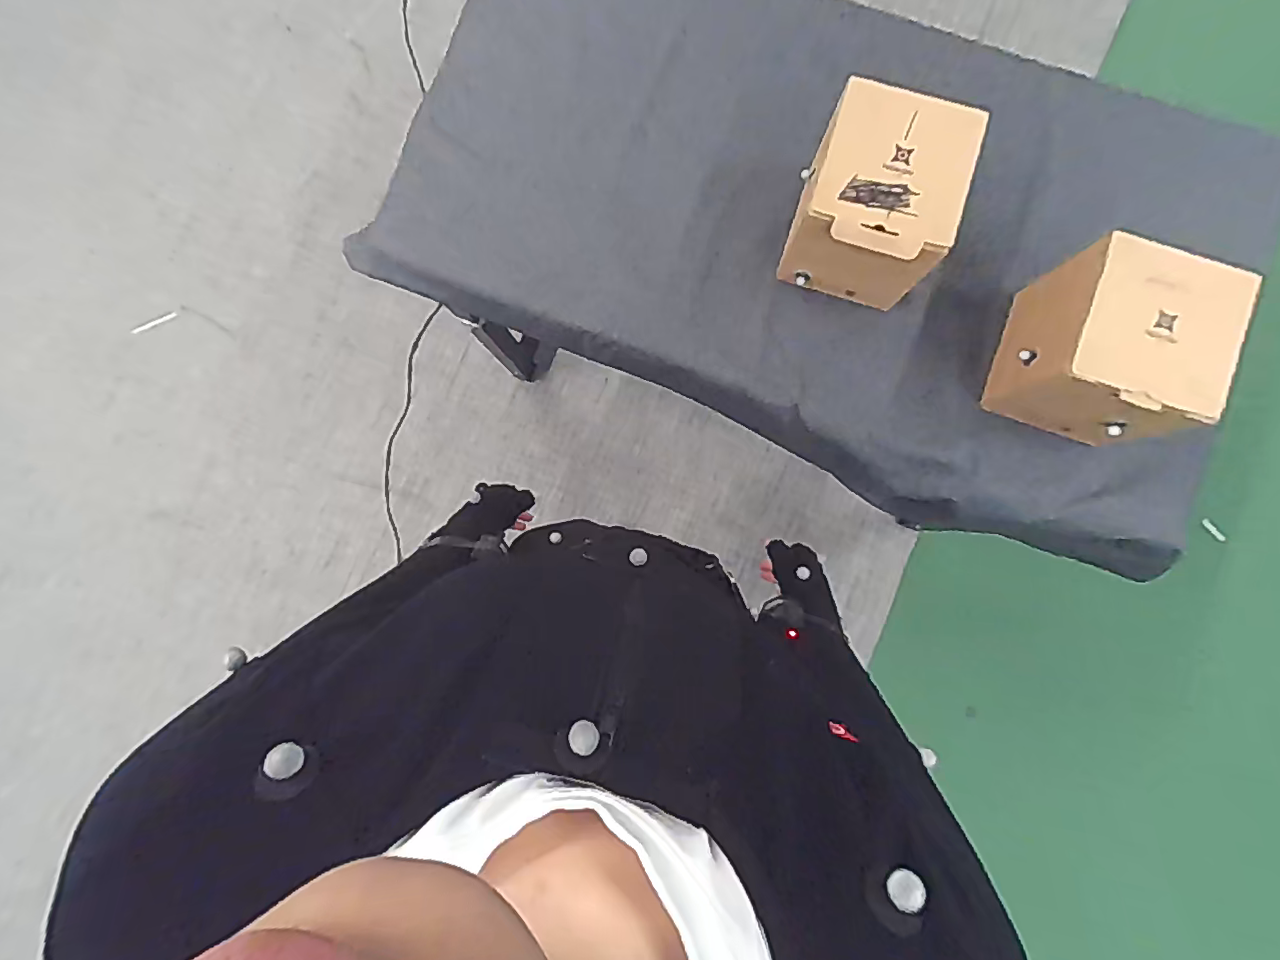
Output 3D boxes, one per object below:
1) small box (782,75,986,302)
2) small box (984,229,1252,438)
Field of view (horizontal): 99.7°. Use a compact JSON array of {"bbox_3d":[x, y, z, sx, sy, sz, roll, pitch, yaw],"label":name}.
[{"bbox_3d":[0.294,-0.355,0.692,0.168,0.176,0.179,18,85,3],"label":"small box"},{"bbox_3d":[0.568,-0.165,0.670,0.168,0.176,0.179,20,85,3],"label":"small box"}]
